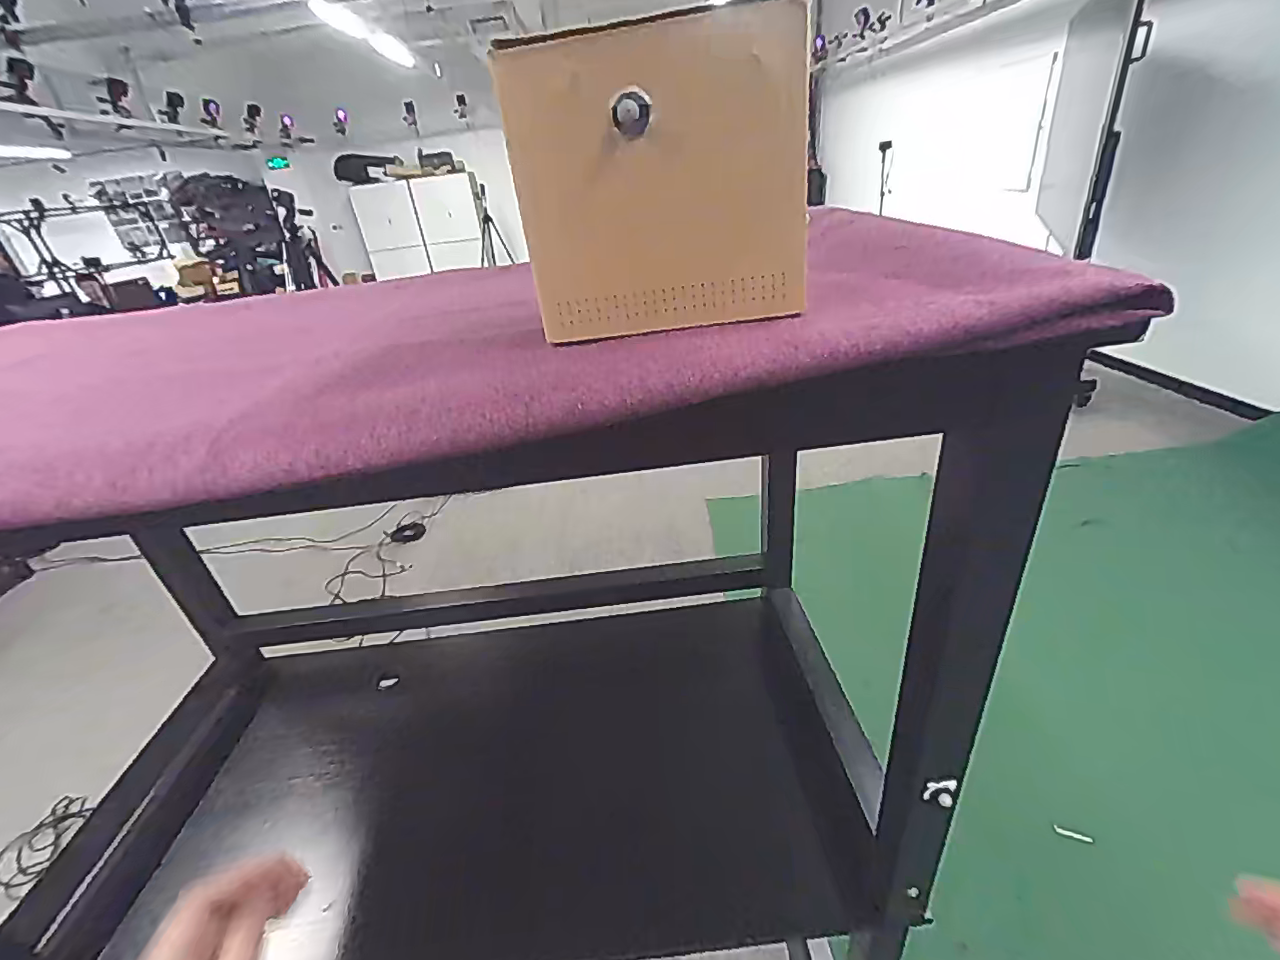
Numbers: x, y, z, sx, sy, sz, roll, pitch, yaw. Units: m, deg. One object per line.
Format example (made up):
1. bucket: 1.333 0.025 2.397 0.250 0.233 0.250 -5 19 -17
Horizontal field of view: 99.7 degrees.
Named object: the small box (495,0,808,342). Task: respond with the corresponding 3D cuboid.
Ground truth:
1. small box: 0.019 -0.205 0.396 0.179 0.176 0.168 -4 28 6
